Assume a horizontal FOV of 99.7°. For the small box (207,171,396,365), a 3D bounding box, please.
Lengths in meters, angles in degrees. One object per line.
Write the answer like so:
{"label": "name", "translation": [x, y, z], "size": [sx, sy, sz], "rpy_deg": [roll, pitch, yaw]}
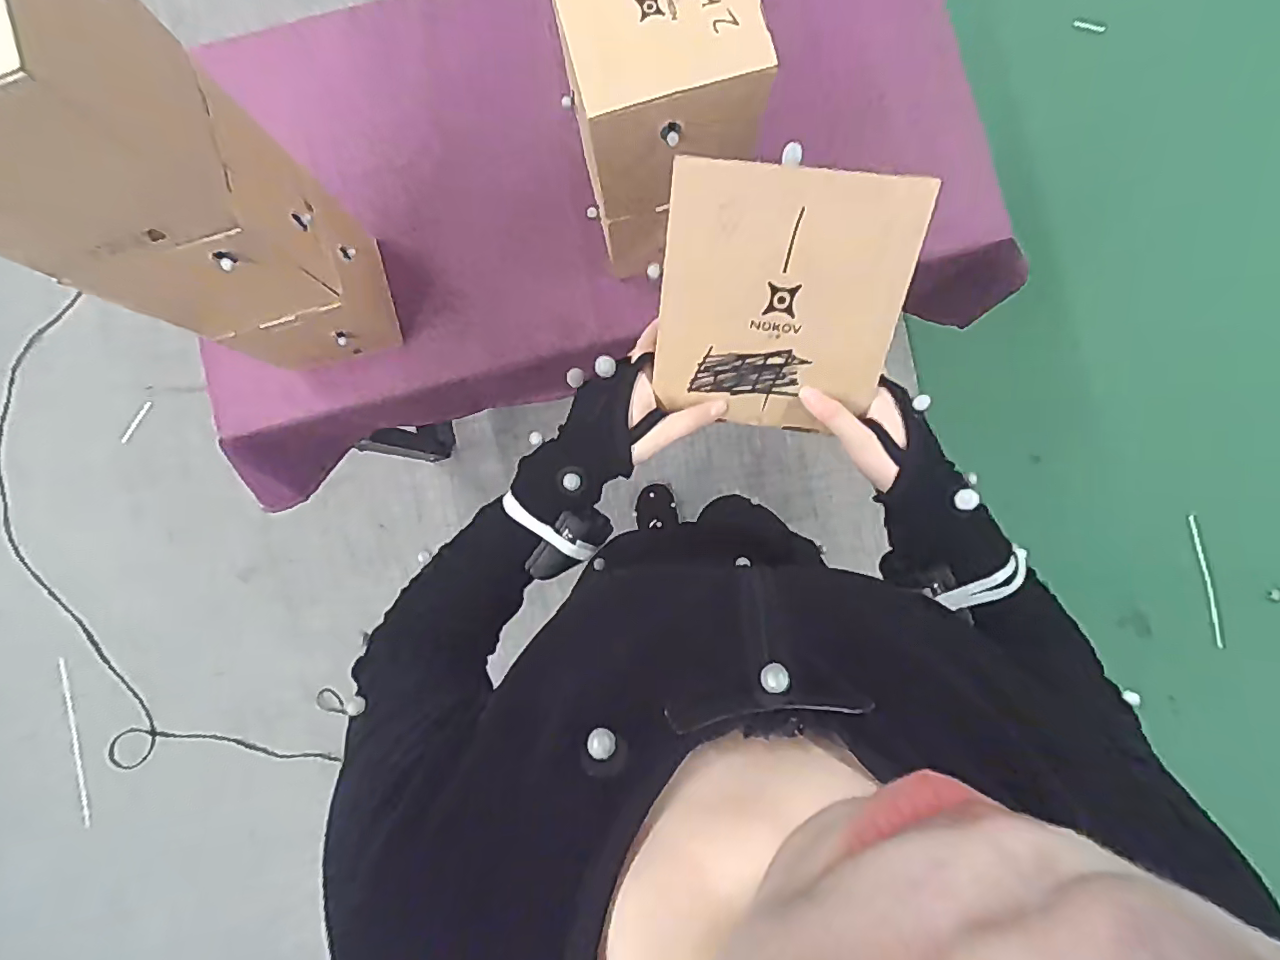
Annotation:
{"label": "small box", "translation": [-0.454, -0.265, 0.724], "size": [0.168, 0.176, 0.179], "rpy_deg": [-15, 87, -1]}

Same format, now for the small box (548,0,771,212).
{"label": "small box", "translation": [0.016, -0.409, 0.557], "size": [0.179, 0.176, 0.168], "rpy_deg": [-14, 87, 0]}

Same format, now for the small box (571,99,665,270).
{"label": "small box", "translation": [0.016, -0.402, 0.722], "size": [0.168, 0.176, 0.179], "rpy_deg": [-14, 88, 0]}

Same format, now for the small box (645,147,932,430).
{"label": "small box", "translation": [0.099, -0.161, 0.443], "size": [0.168, 0.176, 0.179], "rpy_deg": [6, 120, 1]}

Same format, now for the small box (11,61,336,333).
{"label": "small box", "translation": [-0.461, -0.273, 0.562], "size": [0.179, 0.176, 0.168], "rpy_deg": [-17, 87, -2]}
